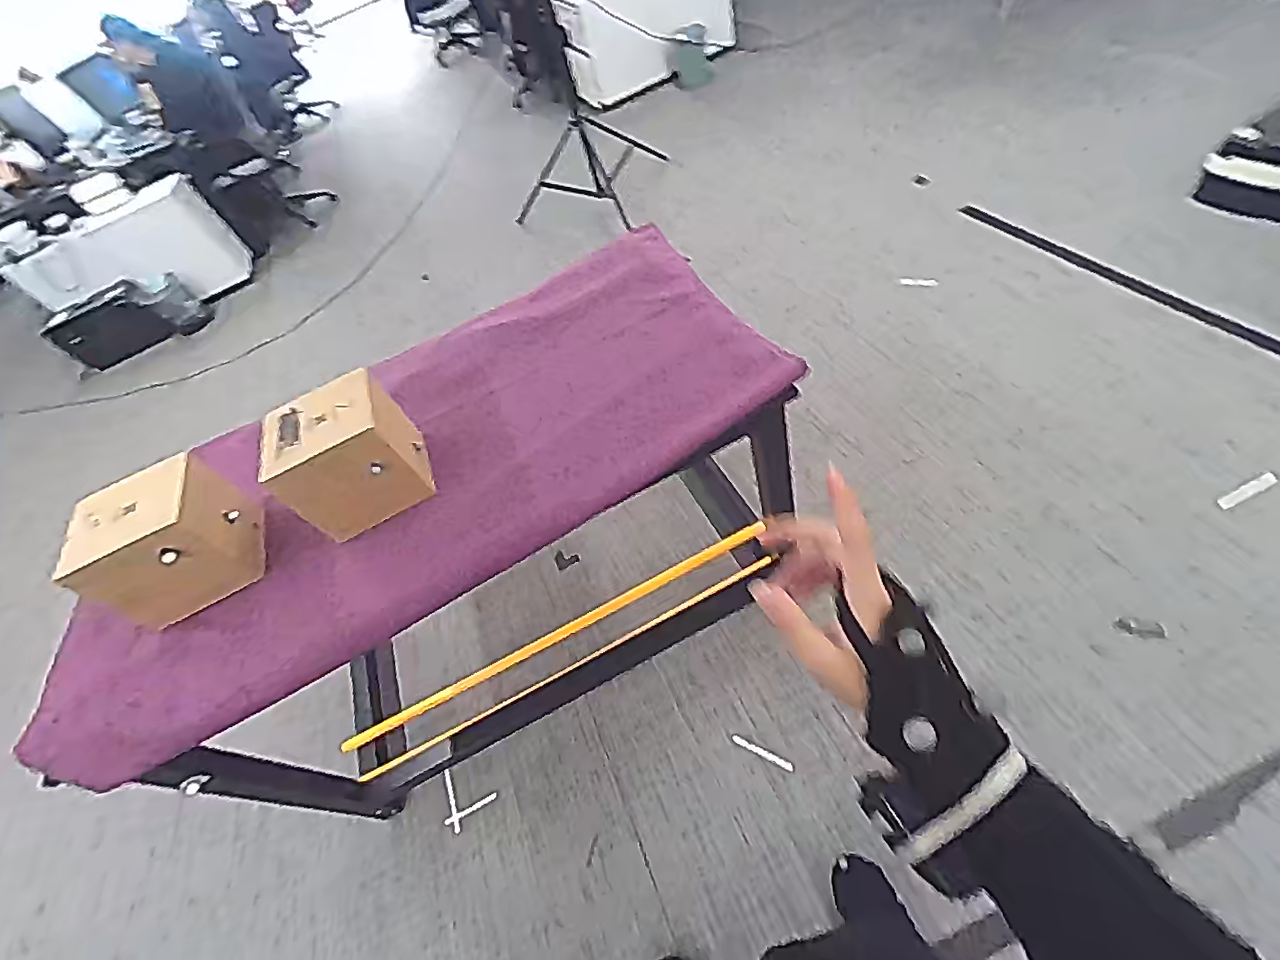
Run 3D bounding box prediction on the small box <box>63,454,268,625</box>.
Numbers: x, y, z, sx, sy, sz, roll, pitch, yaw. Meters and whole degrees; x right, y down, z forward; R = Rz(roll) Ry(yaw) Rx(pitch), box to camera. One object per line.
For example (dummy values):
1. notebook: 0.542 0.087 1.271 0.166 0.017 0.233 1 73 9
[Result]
1. small box: -0.729 0.097 0.859 0.179 0.176 0.168 -28 50 -7
